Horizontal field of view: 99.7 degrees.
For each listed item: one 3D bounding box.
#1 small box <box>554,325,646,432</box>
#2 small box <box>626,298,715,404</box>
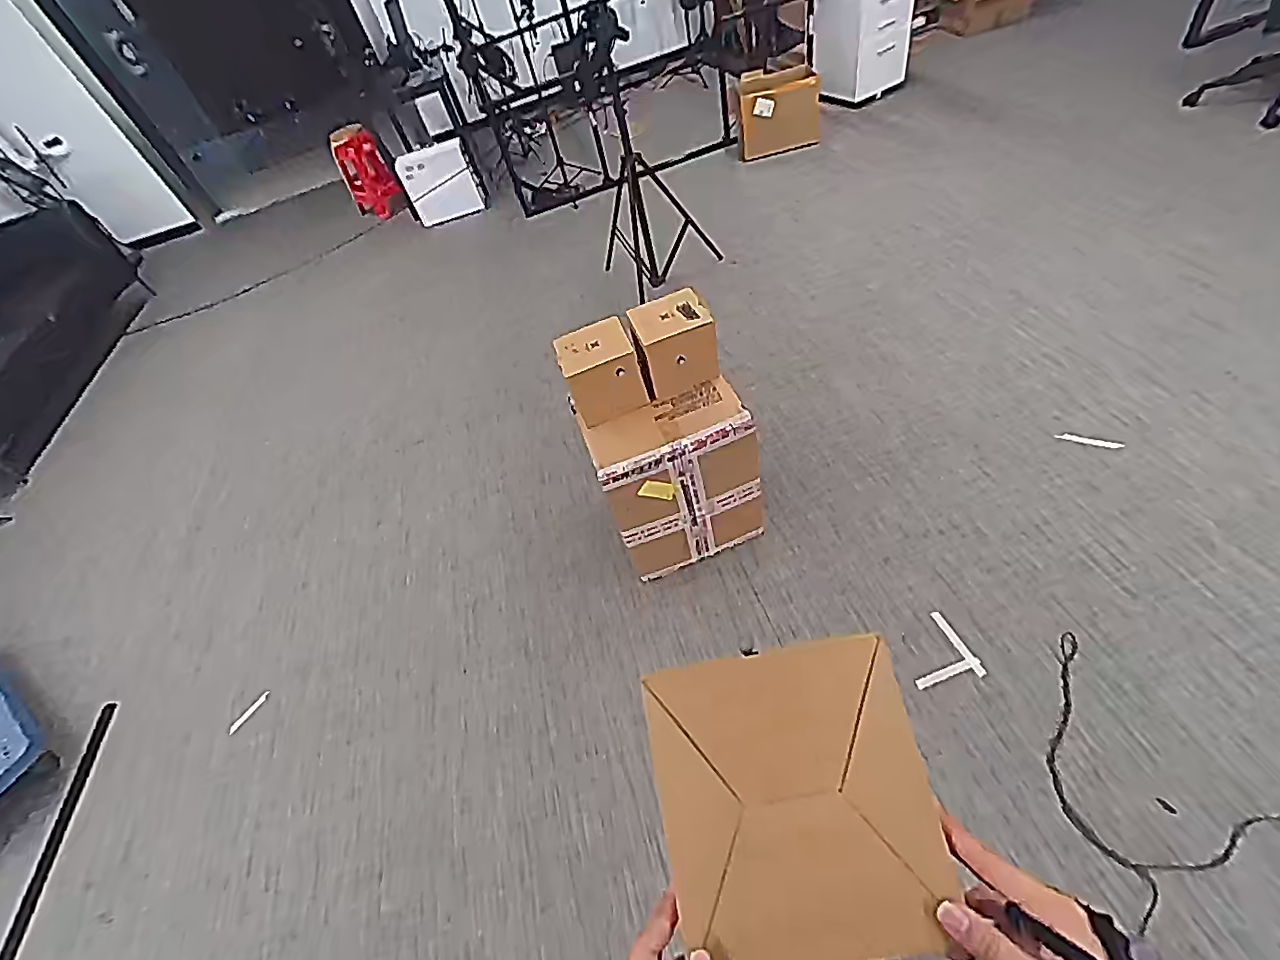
[{"bbox_3d":[-0.094,-0.251,1.356,0.179,0.176,0.168,-22,48,1],"label":"small box"},{"bbox_3d":[0.082,-0.323,1.365,0.179,0.176,0.168,-21,49,-2],"label":"small box"}]
